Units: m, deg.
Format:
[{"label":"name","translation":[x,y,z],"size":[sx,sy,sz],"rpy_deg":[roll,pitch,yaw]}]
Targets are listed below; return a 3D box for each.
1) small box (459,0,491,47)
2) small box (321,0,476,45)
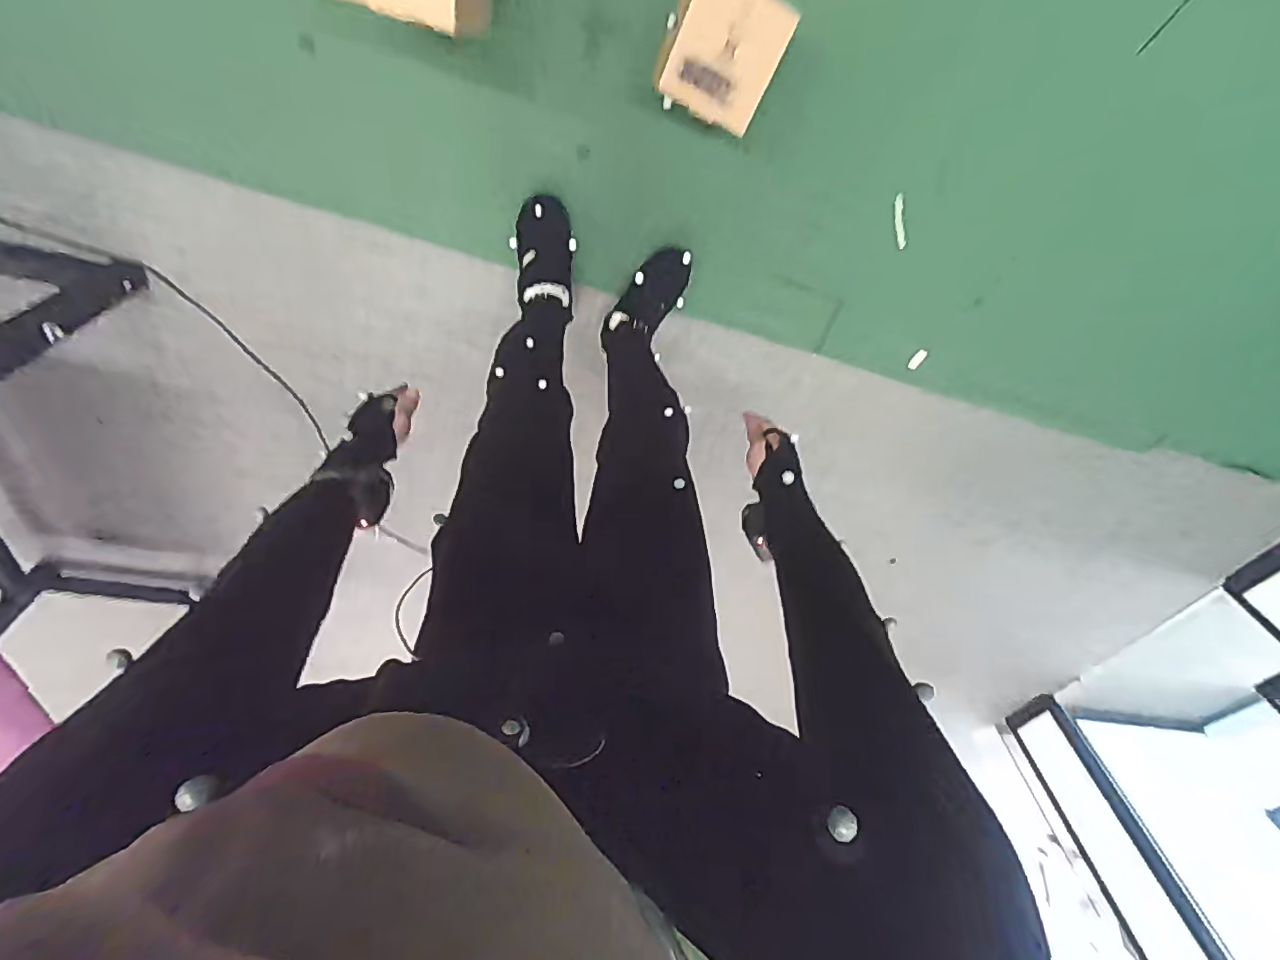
[{"label":"small box","translation":[-0.318,-0.793,0.818],"size":[0.168,0.176,0.179],"rpy_deg":[10,128,-13]},{"label":"small box","translation":[-0.302,-0.693,0.691],"size":[0.168,0.176,0.179],"rpy_deg":[9,130,-12]}]
